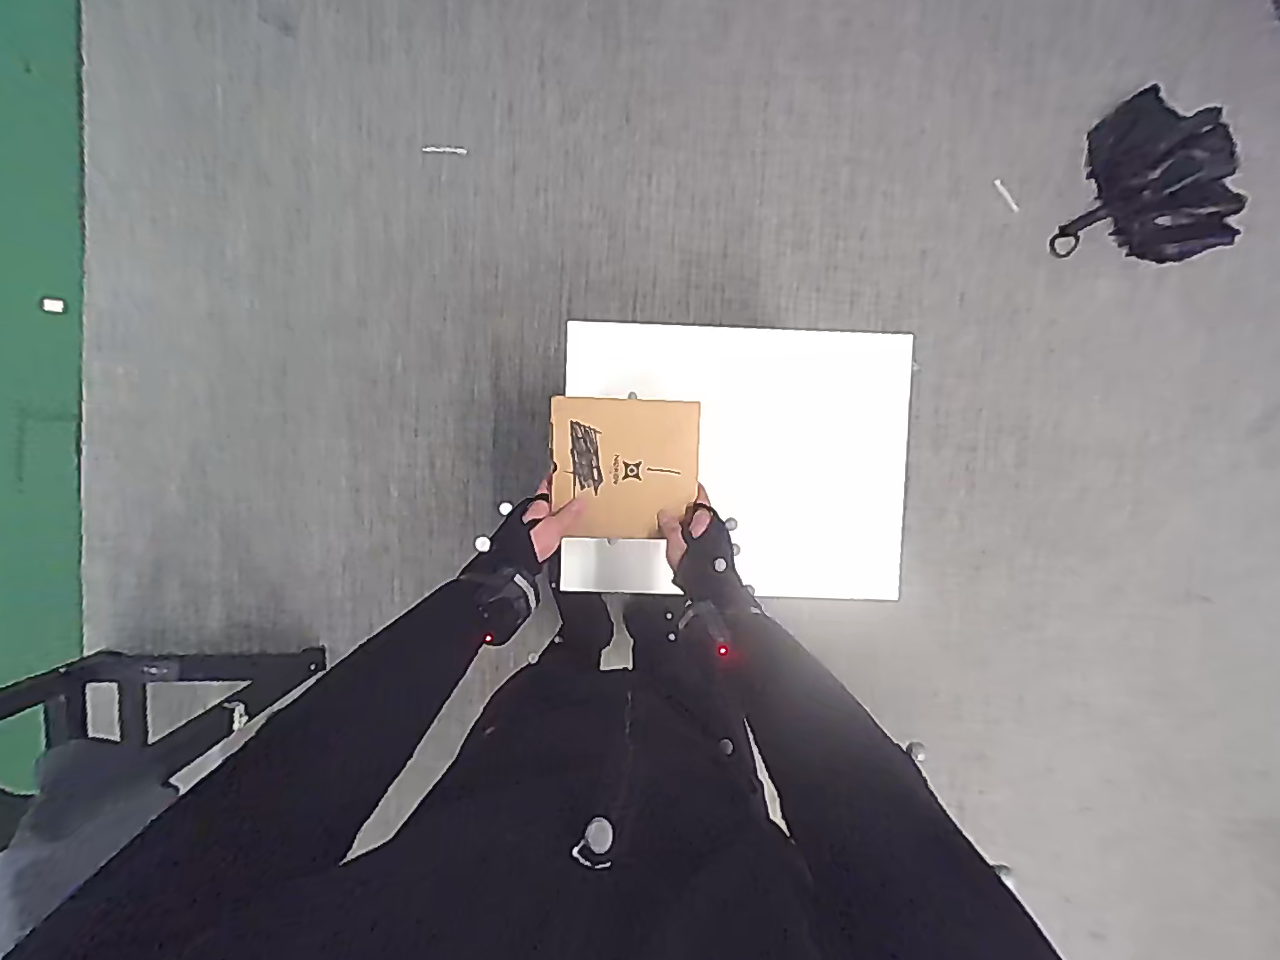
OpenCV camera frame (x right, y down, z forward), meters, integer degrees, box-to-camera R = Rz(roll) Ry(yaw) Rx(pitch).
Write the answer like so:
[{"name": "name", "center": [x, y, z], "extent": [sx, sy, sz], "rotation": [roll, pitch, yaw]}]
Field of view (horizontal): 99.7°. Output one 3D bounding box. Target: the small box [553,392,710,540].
[{"name": "small box", "center": [-0.014, -0.019, 0.699], "extent": [0.179, 0.176, 0.168], "rotation": [2, 94, -4]}]
